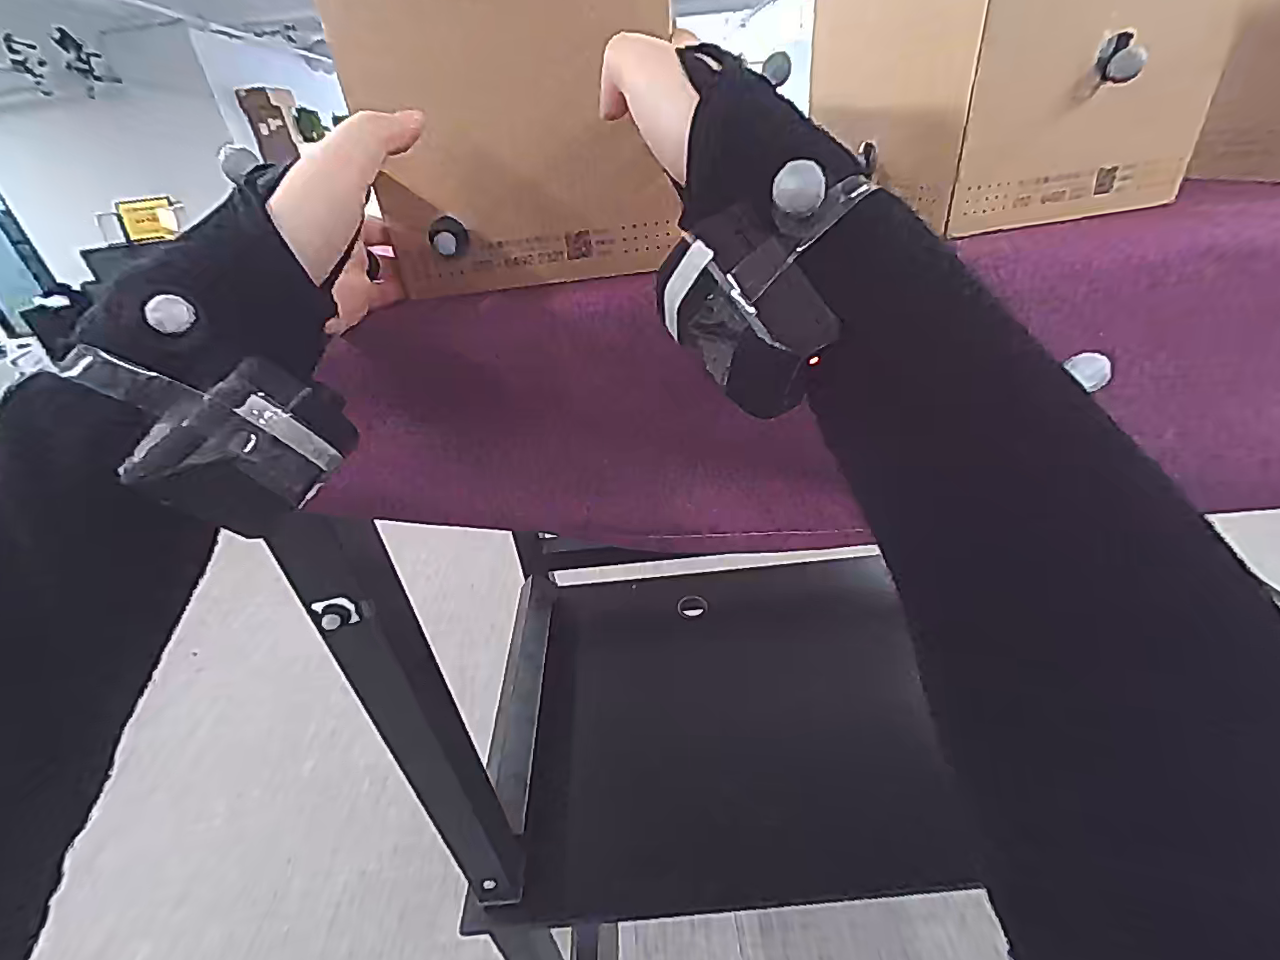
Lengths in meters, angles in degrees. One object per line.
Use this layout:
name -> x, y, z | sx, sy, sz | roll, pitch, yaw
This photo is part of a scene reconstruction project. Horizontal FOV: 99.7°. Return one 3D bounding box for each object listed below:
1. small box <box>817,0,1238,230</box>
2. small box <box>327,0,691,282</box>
small box -> 0.234, -0.269, 0.355 | 0.168, 0.176, 0.179 | -12, 32, -8
small box -> -0.064, -0.229, 0.344 | 0.168, 0.176, 0.179 | -7, 30, -2
